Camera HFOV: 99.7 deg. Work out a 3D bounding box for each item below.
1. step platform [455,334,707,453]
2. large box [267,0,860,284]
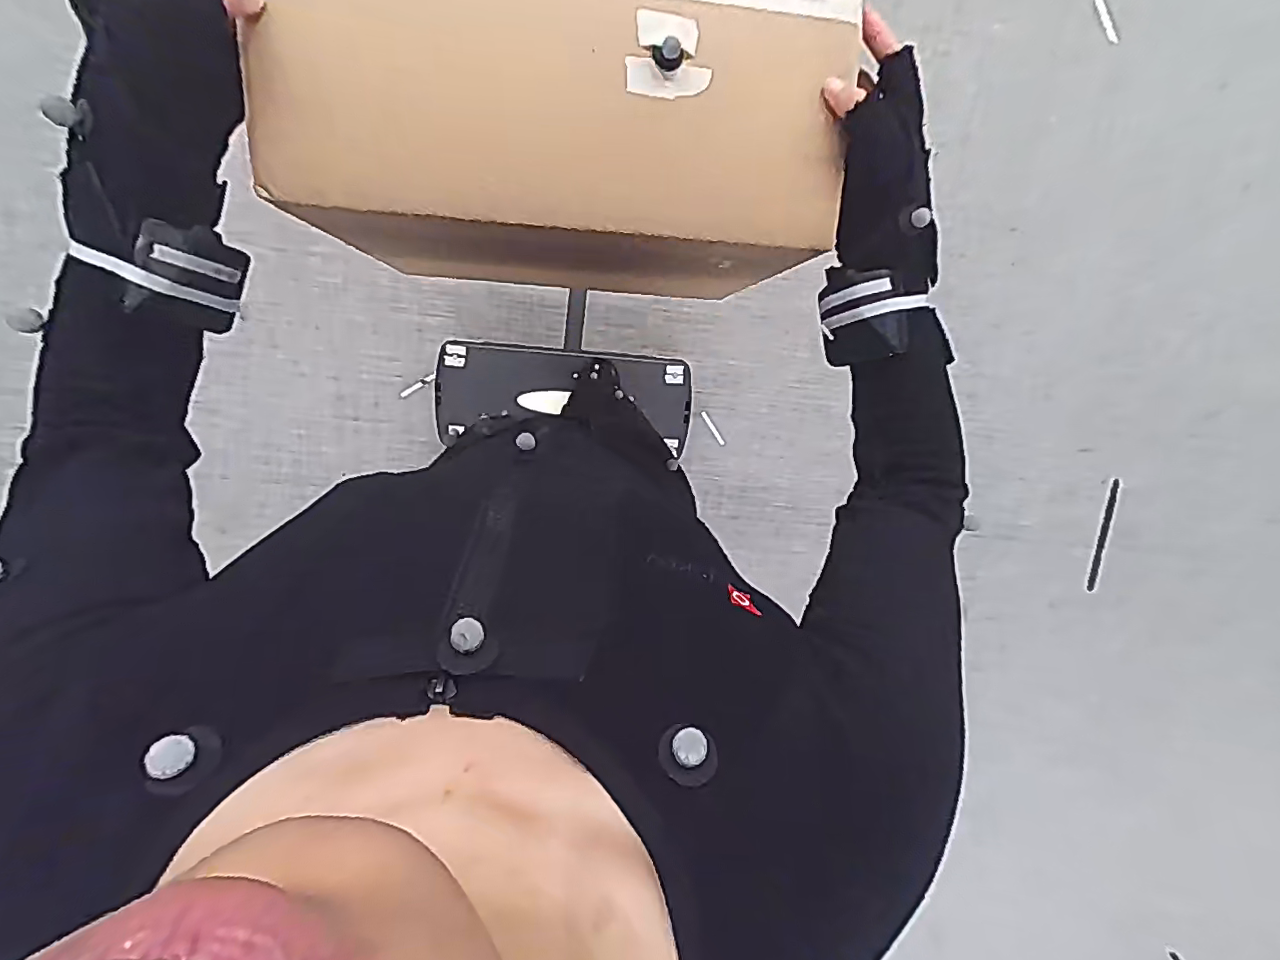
[{"bbox_3d":[-0.157,-0.237,1.507,0.684,0.204,0.286,3,101,-6],"label":"step platform"},{"bbox_3d":[-0.059,-0.374,0.504,0.408,0.320,0.320,1,103,-8],"label":"large box"}]
